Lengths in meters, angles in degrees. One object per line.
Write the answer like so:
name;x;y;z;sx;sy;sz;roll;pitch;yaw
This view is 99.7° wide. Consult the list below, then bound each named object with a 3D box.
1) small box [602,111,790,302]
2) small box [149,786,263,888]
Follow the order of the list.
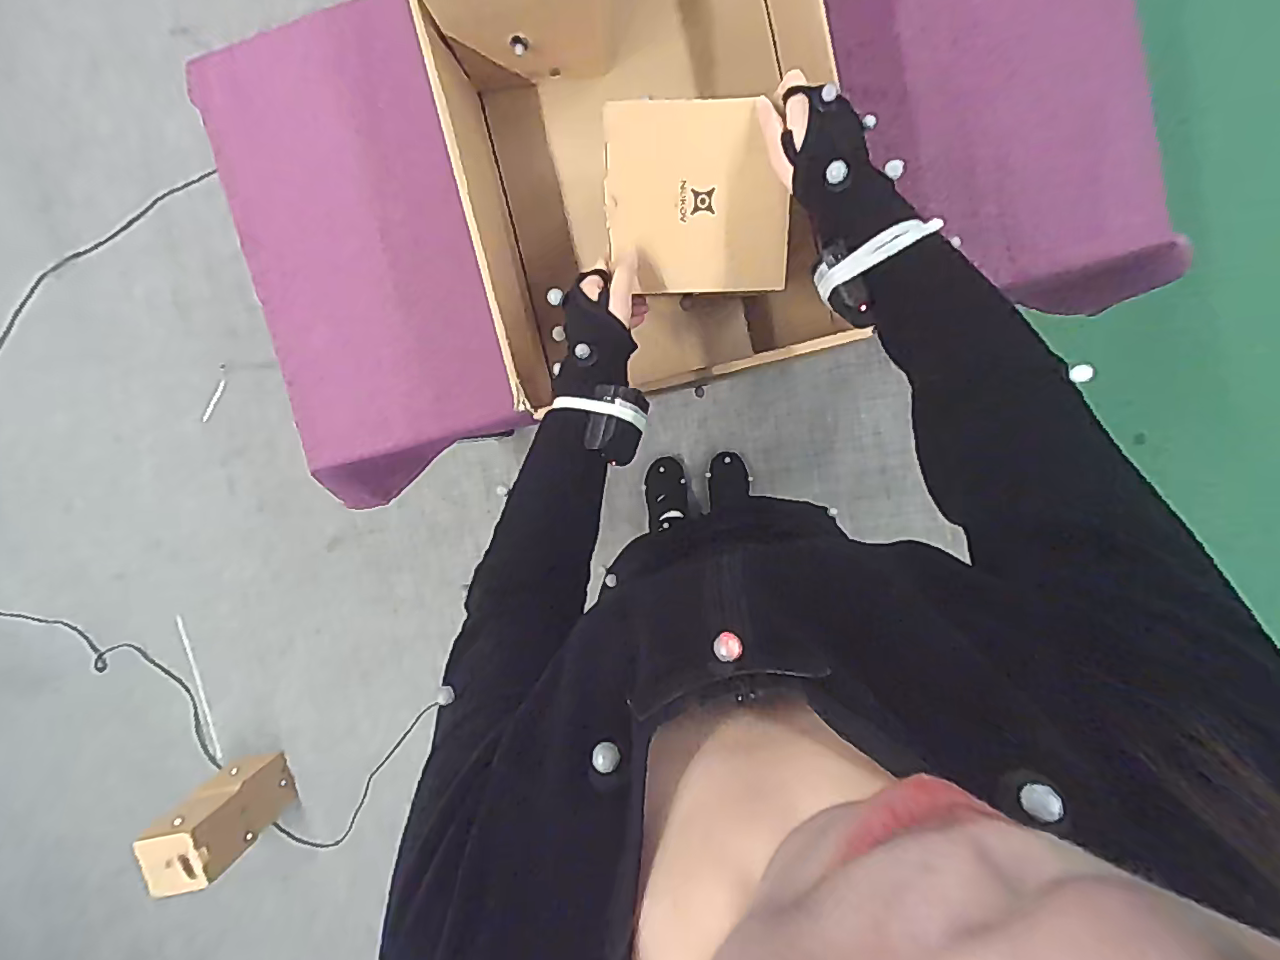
small box;0.055;-0.286;0.596;0.179;0.176;0.168;0;109;4
small box;-1.208;0.996;1.523;0.179;0.176;0.168;-14;94;9
